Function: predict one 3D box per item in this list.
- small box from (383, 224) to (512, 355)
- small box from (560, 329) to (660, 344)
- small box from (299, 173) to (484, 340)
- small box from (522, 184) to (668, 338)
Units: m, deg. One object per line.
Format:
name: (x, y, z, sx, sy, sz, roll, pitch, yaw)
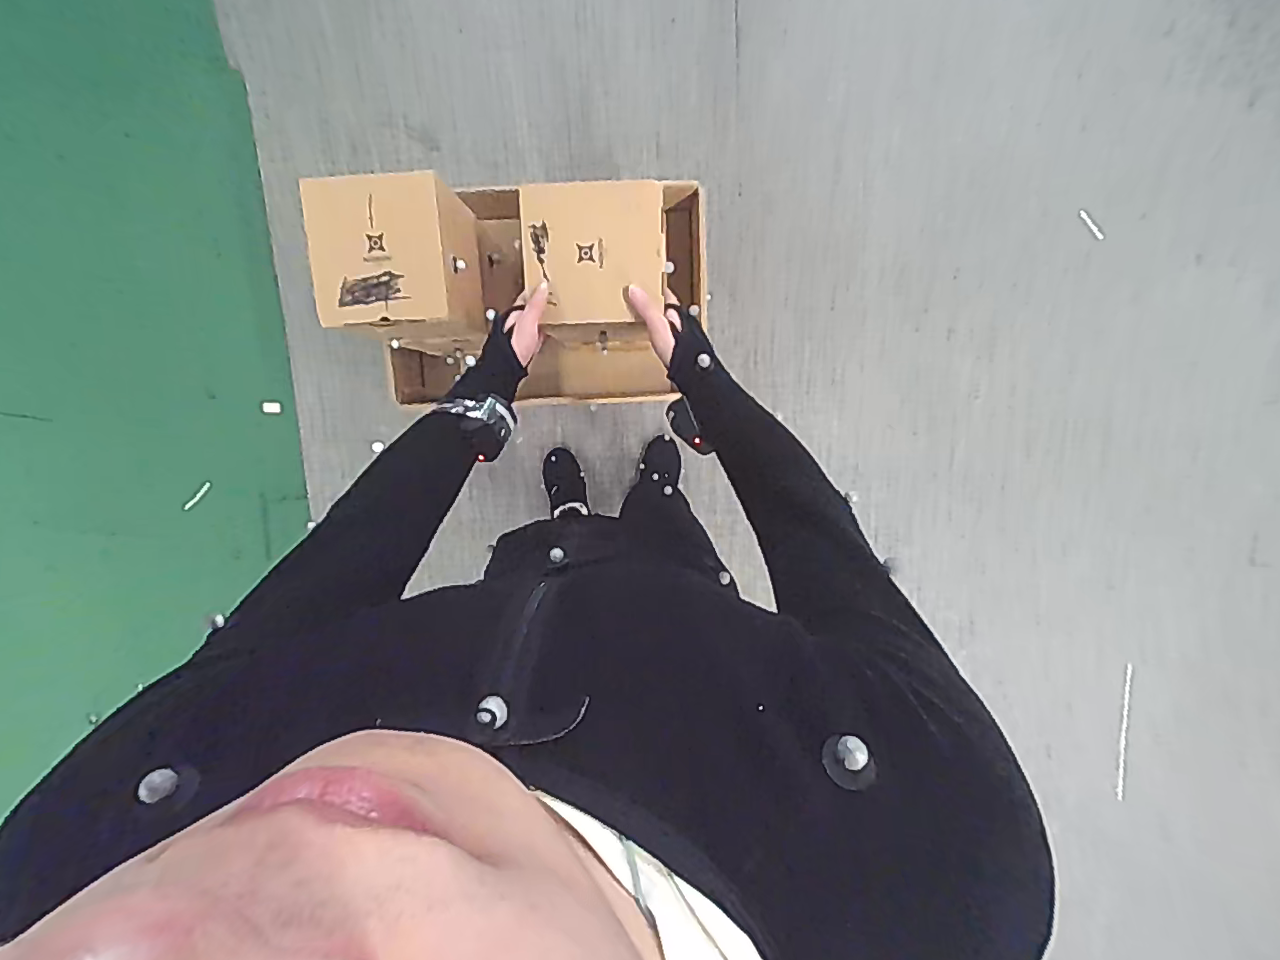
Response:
small box: (-0.315, -0.305, 0.895, 0.168, 0.176, 0.179, -2, 99, 0)
small box: (-0.055, -0.315, 0.898, 0.179, 0.176, 0.168, -1, 101, -1)
small box: (-0.319, -0.287, 0.731, 0.168, 0.176, 0.179, -4, 98, 0)
small box: (-0.056, -0.287, 0.736, 0.179, 0.176, 0.168, -1, 100, -1)
